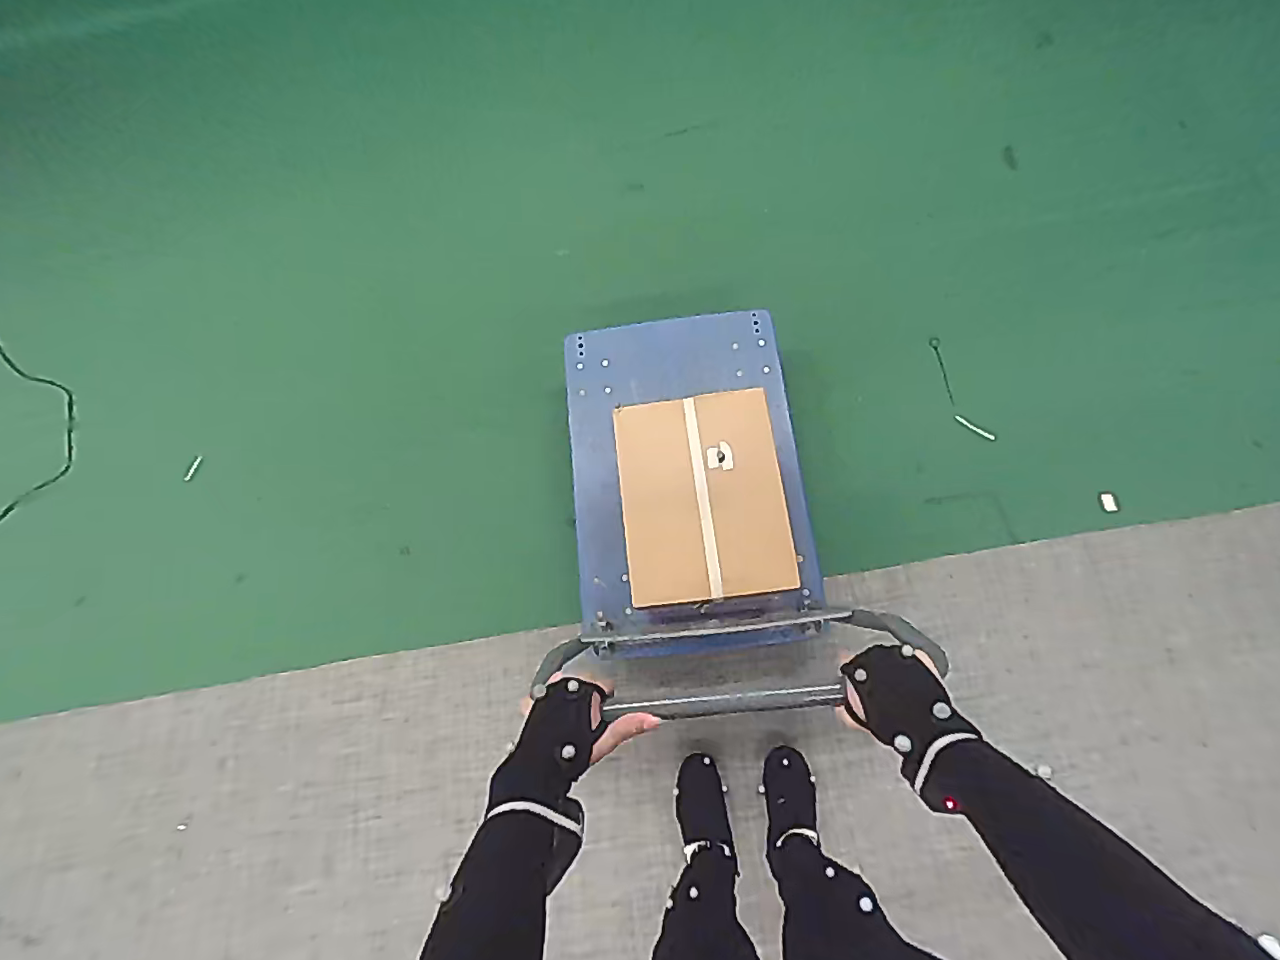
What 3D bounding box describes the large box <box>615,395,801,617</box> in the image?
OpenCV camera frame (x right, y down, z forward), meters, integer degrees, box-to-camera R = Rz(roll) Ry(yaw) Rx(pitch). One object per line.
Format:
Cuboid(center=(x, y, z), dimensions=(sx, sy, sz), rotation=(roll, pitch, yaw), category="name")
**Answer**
Cuboid(center=(0.136, 0.077, 1.192), dimensions=(0.320, 0.320, 0.408), rotation=(-7, 74, 3), category="large box")
